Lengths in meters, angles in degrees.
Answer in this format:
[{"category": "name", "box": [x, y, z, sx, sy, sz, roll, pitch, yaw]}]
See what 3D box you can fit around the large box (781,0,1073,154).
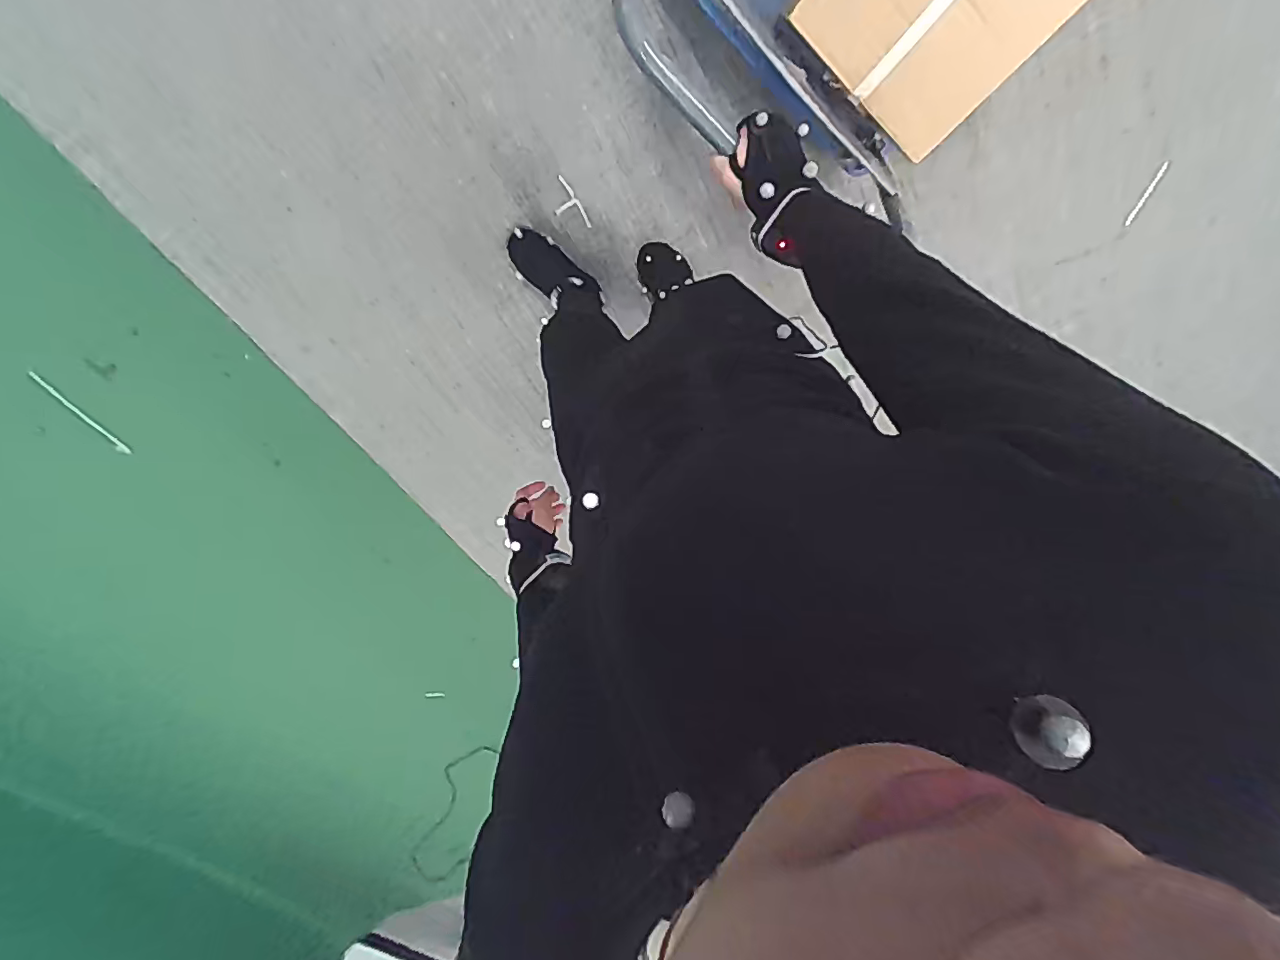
[{"category": "large box", "box": [0.477, -0.821, 0.844, 0.320, 0.320, 0.408, 34, 129, -20]}]
